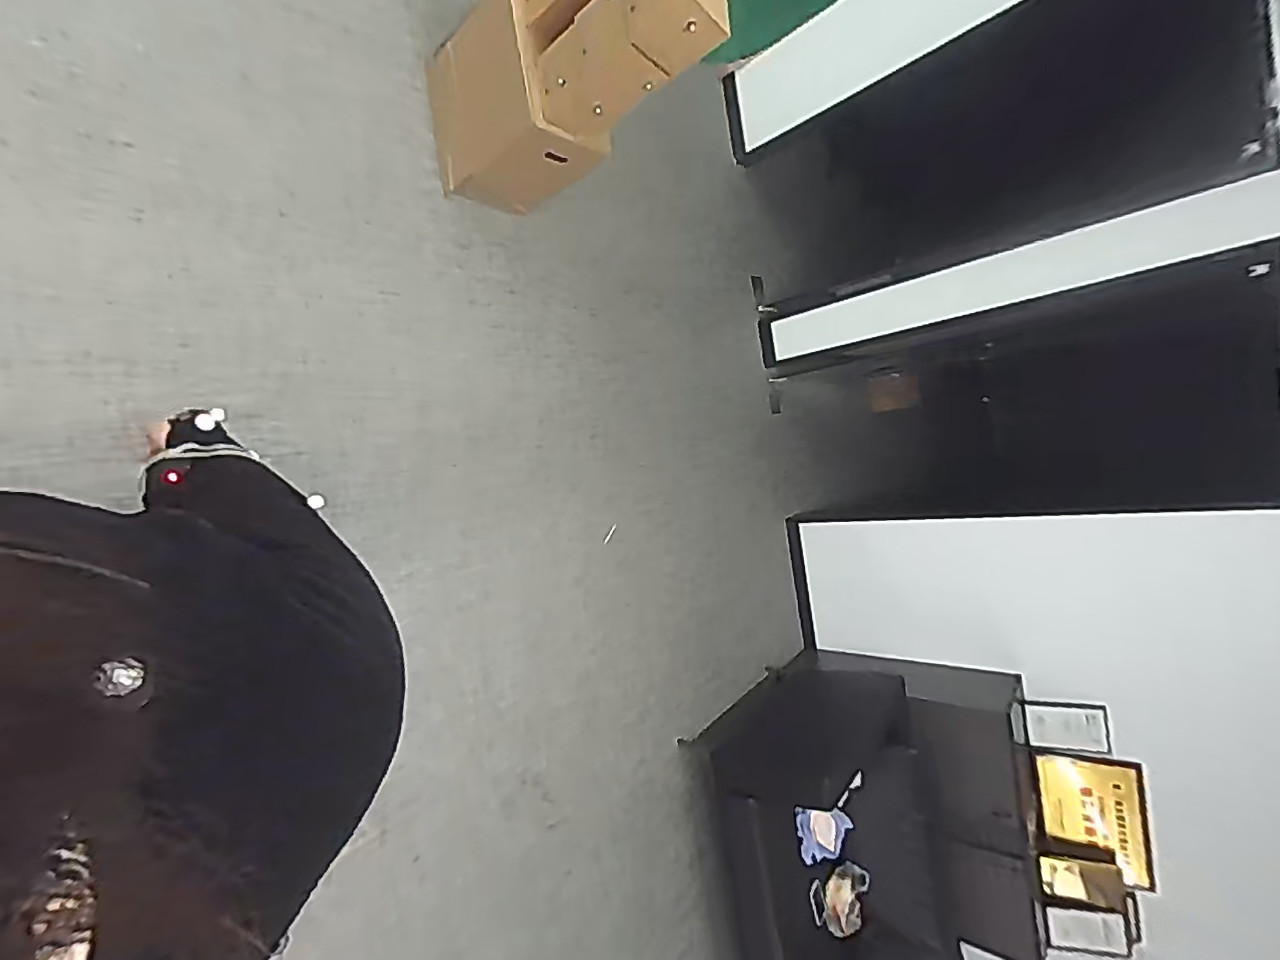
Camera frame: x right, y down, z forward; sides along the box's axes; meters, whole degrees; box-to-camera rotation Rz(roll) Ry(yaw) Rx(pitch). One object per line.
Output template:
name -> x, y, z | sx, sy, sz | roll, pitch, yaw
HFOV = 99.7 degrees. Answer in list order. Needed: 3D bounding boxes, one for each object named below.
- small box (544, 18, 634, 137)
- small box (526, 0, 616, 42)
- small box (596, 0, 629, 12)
small box -> -0.143, -1.069, 1.459 | 0.179, 0.176, 0.168 | -8, 91, -48
small box -> -0.188, -1.301, 1.436 | 0.179, 0.176, 0.168 | -12, 96, -46
small box -> -0.072, -1.311, 1.321 | 0.179, 0.176, 0.168 | -10, 95, -46
